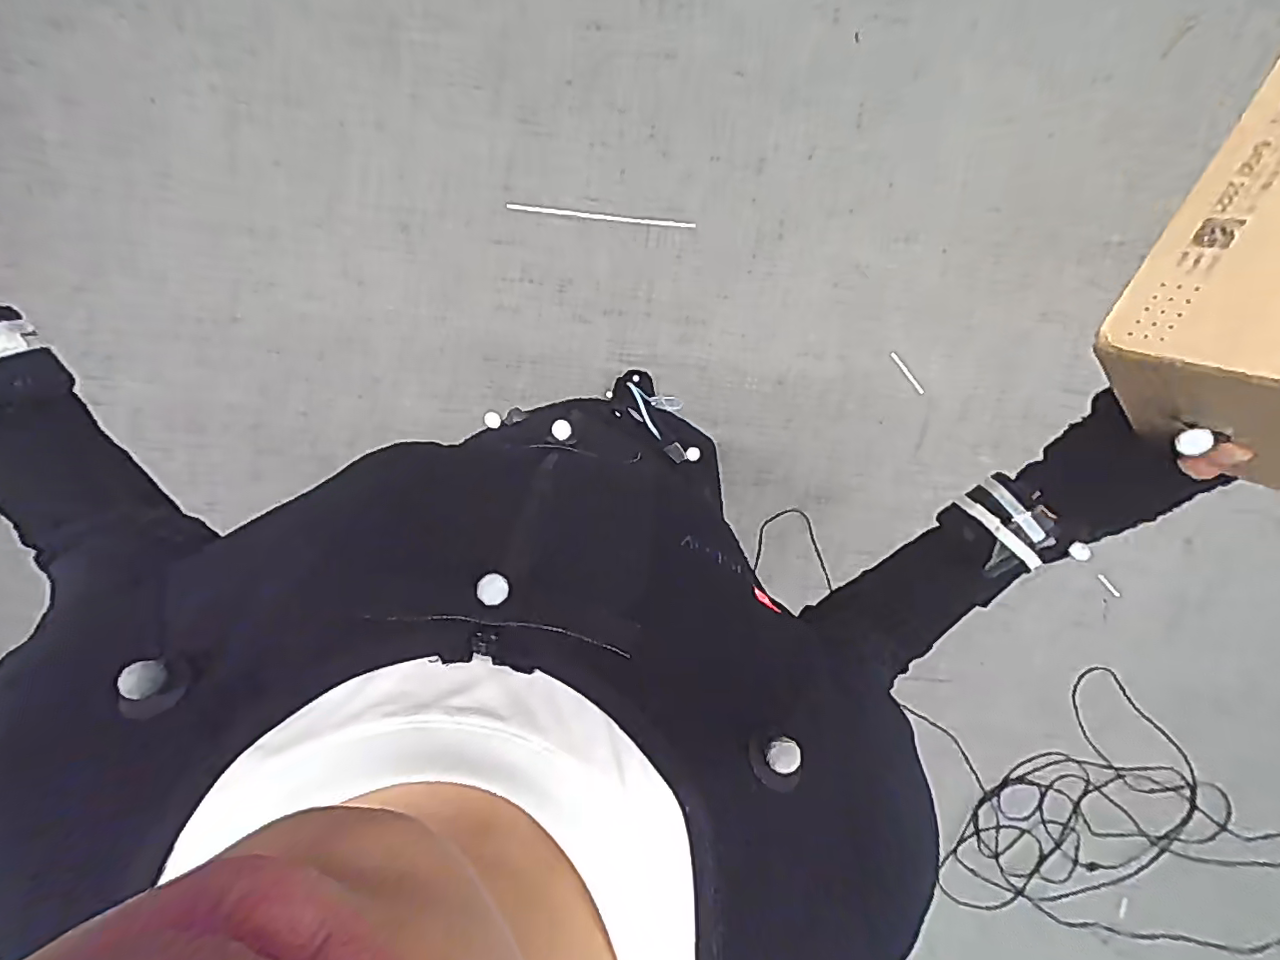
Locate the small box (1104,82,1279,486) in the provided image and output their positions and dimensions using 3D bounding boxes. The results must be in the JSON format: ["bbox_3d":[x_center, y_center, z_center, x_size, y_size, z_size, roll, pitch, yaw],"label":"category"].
[{"bbox_3d":[0.371,-0.083,0.253,0.179,0.176,0.168,21,103,-39],"label":"small box"}]
